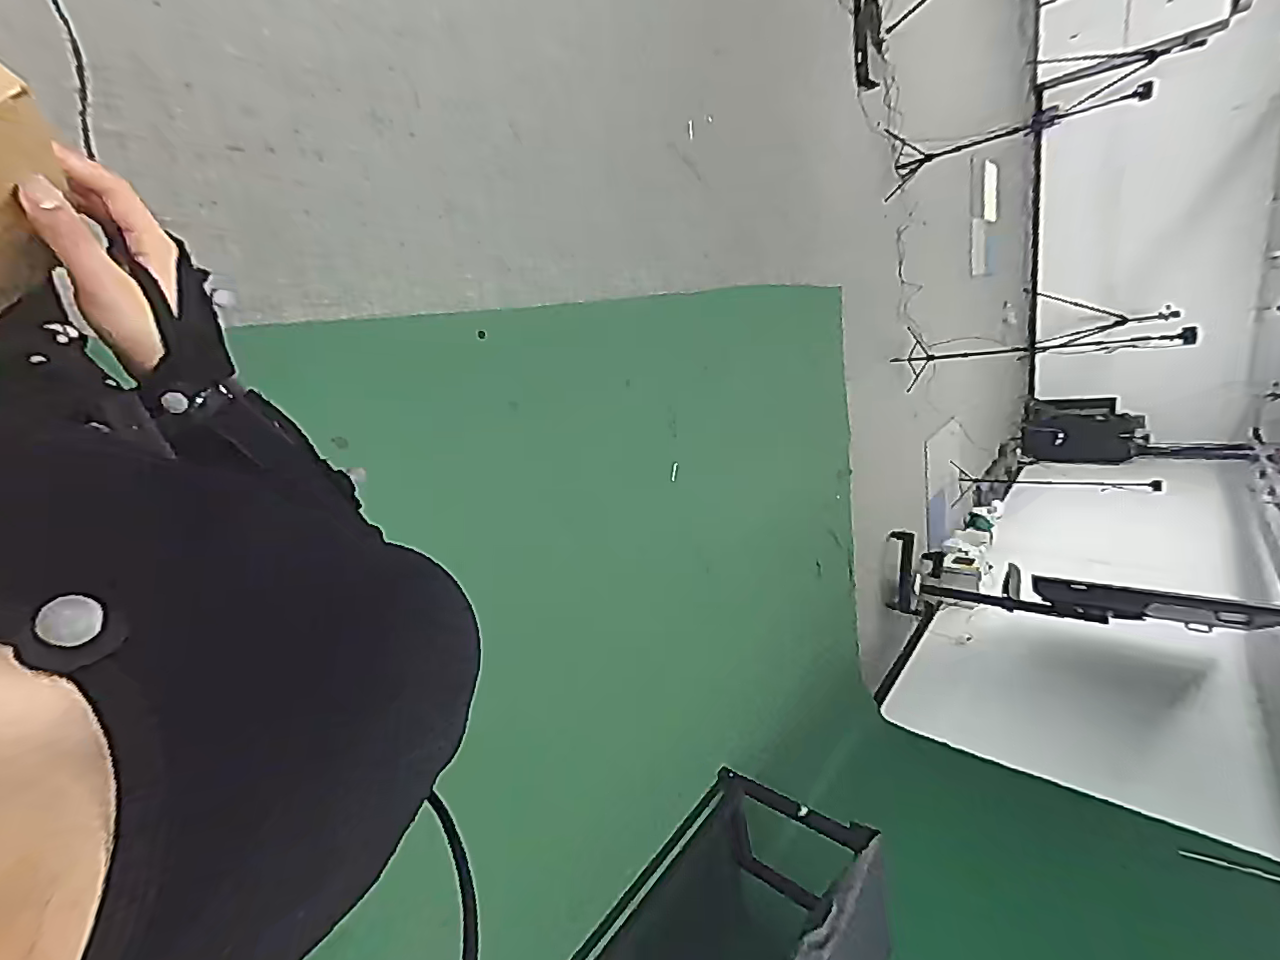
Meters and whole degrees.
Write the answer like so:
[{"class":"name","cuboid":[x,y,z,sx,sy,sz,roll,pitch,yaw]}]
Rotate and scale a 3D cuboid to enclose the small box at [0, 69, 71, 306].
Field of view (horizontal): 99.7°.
[{"class":"small box","cuboid":[-0.402,-0.141,0.223,0.168,0.176,0.179,41,65,-30]}]
